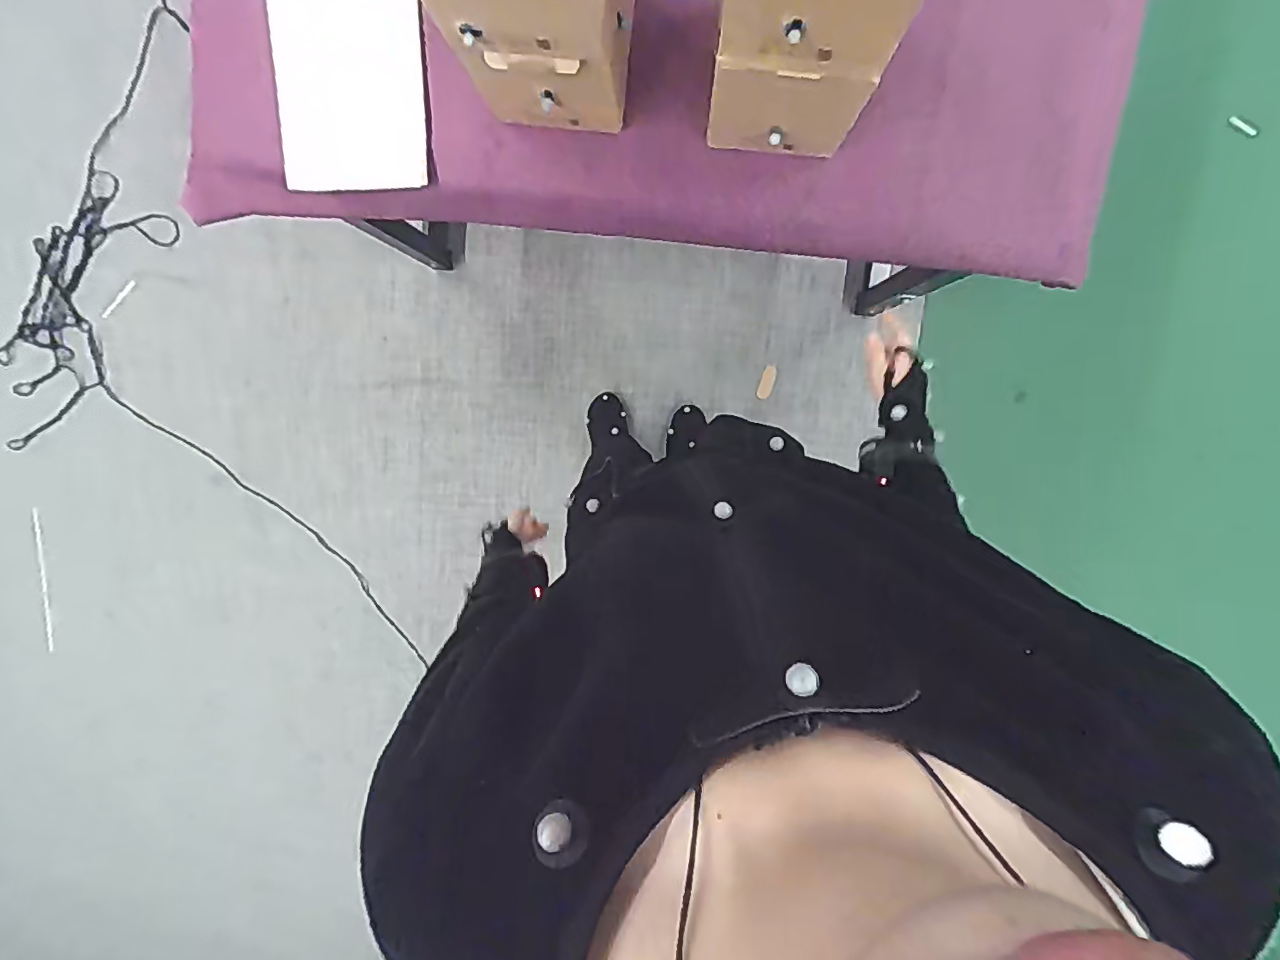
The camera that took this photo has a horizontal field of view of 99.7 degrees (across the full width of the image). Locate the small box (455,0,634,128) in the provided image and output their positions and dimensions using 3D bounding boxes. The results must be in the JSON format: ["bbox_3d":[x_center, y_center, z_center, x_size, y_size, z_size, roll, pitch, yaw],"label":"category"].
[{"bbox_3d":[-0.099,-0.544,0.628,0.168,0.176,0.179,7,99,1],"label":"small box"}]

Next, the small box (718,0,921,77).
[{"bbox_3d":[0.163,-0.491,0.454,0.168,0.176,0.179,7,98,2],"label":"small box"}]

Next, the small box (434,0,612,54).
[{"bbox_3d":[-0.109,-0.514,0.465,0.168,0.176,0.179,7,97,2],"label":"small box"}]
